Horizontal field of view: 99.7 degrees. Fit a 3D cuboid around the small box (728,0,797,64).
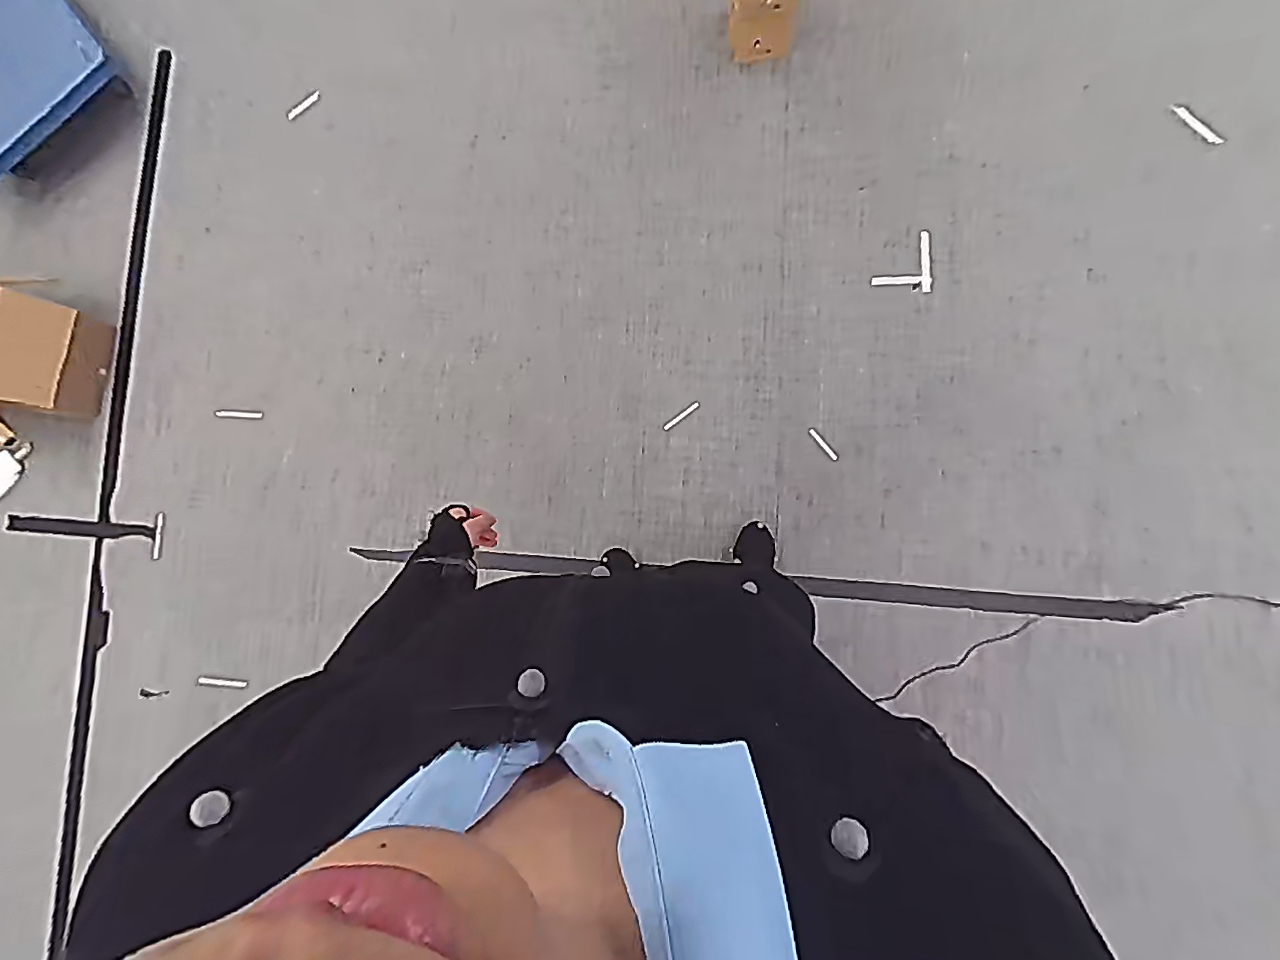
[{"bbox_3d":[0.339,-1.328,1.526,0.168,0.176,0.179,-3,85,5],"label":"small box"}]
